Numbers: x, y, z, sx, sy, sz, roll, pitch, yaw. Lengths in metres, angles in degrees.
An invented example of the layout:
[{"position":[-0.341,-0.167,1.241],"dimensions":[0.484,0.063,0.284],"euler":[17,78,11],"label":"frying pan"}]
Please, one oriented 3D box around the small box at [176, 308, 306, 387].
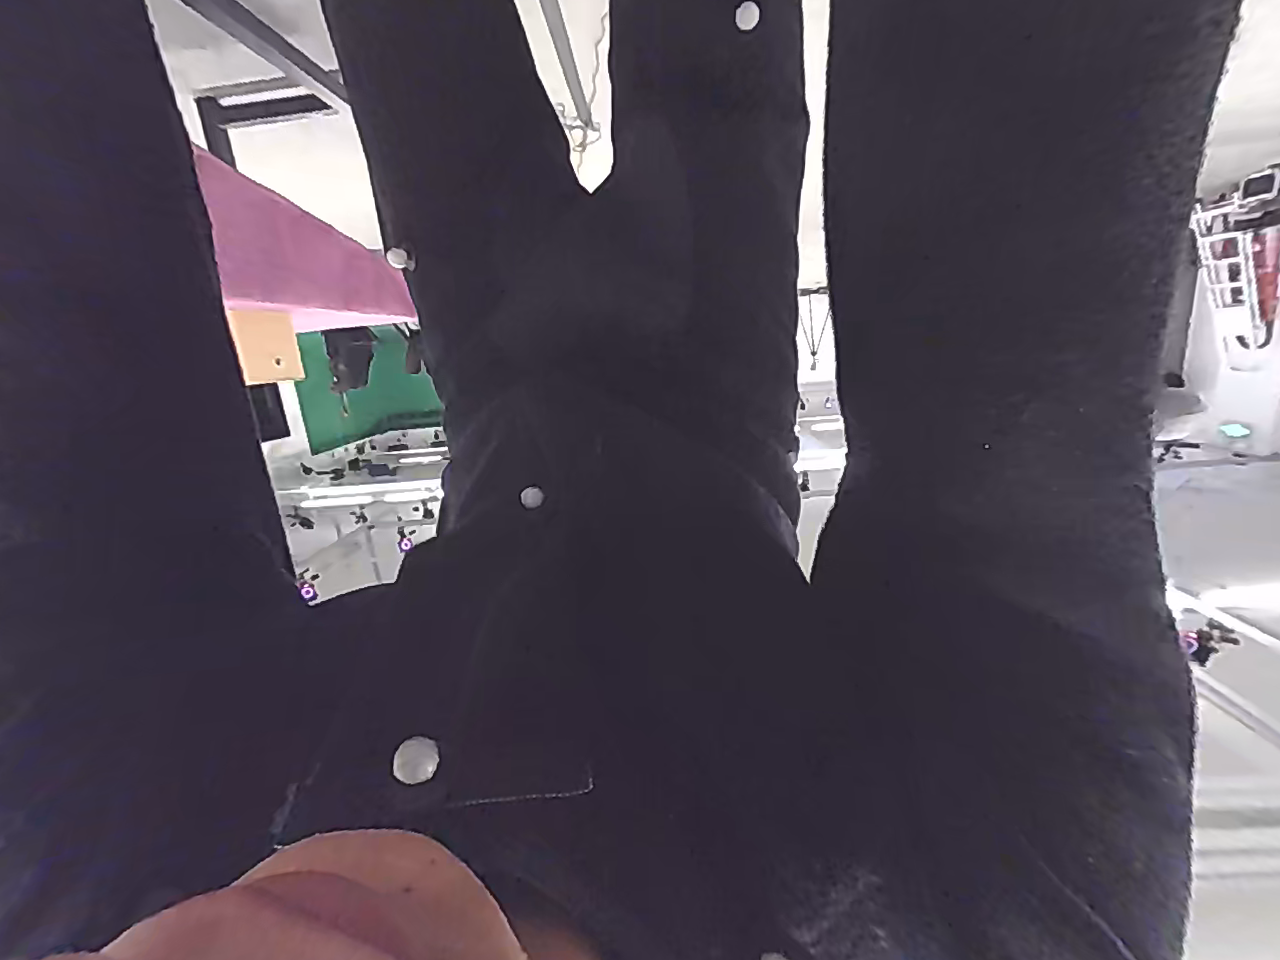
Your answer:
[{"position":[-0.957,-0.321,1.308],"dimensions":[0.168,0.176,0.179],"euler":[-3,-166,8],"label":"small box"}]
